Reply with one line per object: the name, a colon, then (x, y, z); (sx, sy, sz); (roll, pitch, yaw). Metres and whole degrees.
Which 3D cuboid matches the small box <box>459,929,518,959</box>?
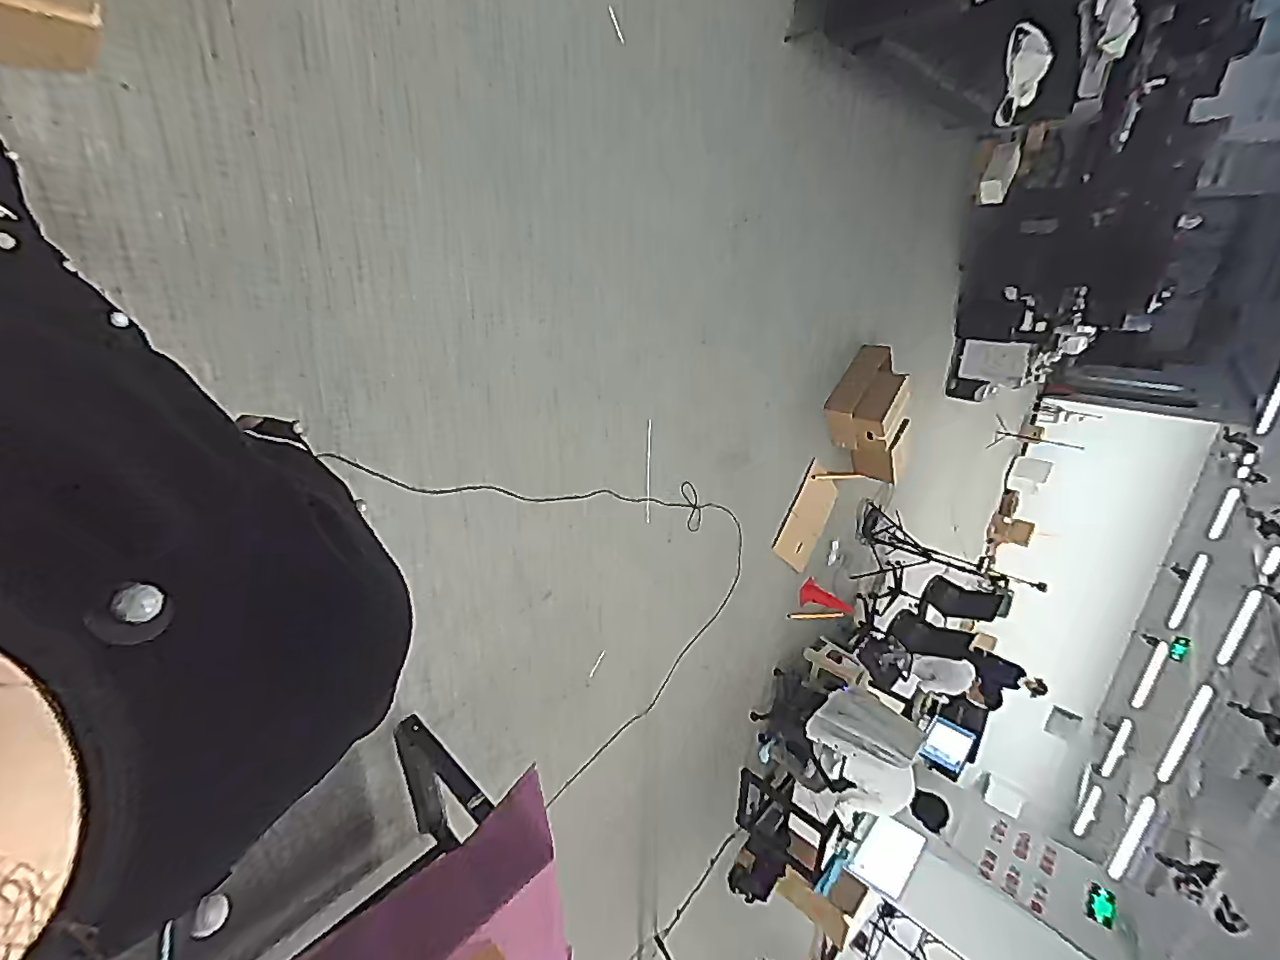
small box: (-0.349, 1.181, 1.214); (0.179, 0.176, 0.168); (-19, 119, -43)
